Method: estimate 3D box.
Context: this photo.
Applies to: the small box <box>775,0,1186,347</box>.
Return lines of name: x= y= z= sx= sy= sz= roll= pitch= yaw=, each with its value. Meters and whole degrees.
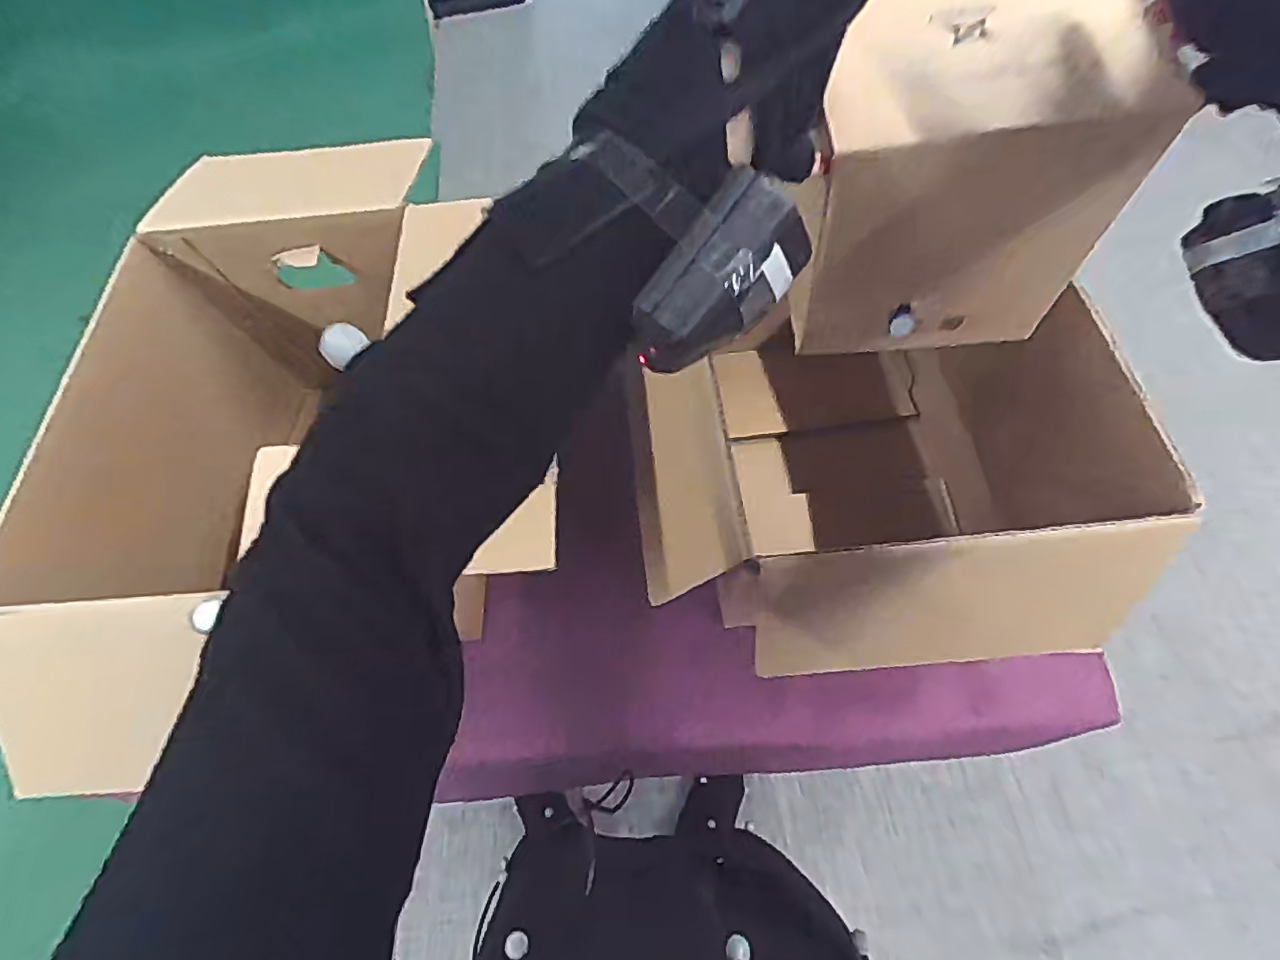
small box: x=0.186 y=-0.216 z=0.368 sx=0.168 sy=0.176 sz=0.179 roll=-3 pitch=65 yaw=9
